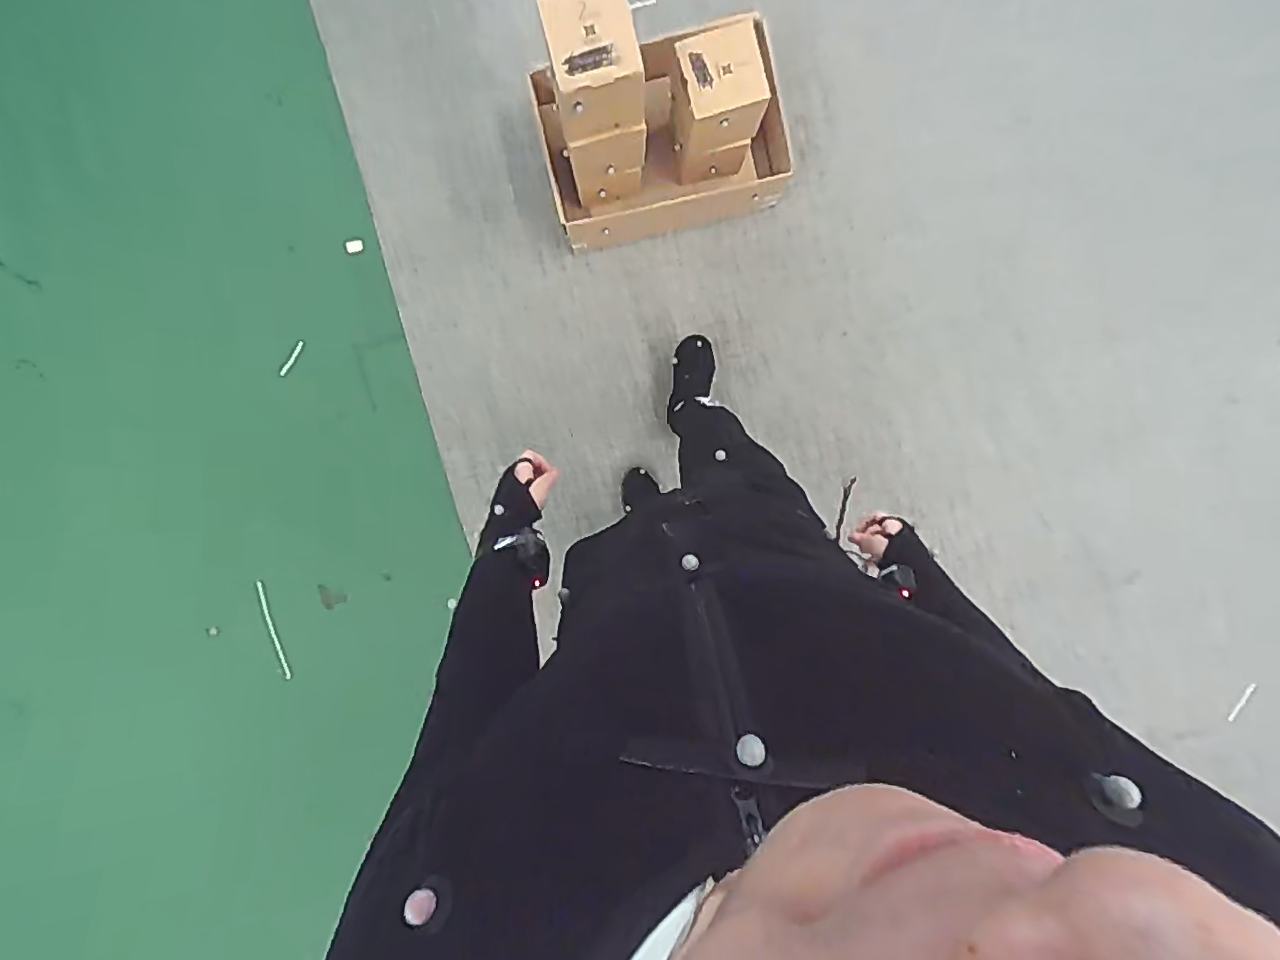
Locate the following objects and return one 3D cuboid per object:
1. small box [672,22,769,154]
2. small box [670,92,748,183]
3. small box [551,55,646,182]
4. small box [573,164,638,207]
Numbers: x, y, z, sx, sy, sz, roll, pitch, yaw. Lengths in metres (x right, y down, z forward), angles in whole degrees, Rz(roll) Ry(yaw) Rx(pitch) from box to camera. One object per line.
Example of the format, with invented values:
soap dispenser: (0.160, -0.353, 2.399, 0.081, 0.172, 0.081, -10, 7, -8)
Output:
small box: (0.176, -0.885, 1.240, 0.179, 0.176, 0.168, -16, 95, 0)
small box: (0.174, -0.900, 1.406, 0.168, 0.176, 0.179, -12, 95, 1)
small box: (-0.093, -0.820, 1.243, 0.179, 0.176, 0.168, -14, 94, -1)
small box: (-0.100, -0.835, 1.405, 0.168, 0.176, 0.179, -13, 93, 0)
